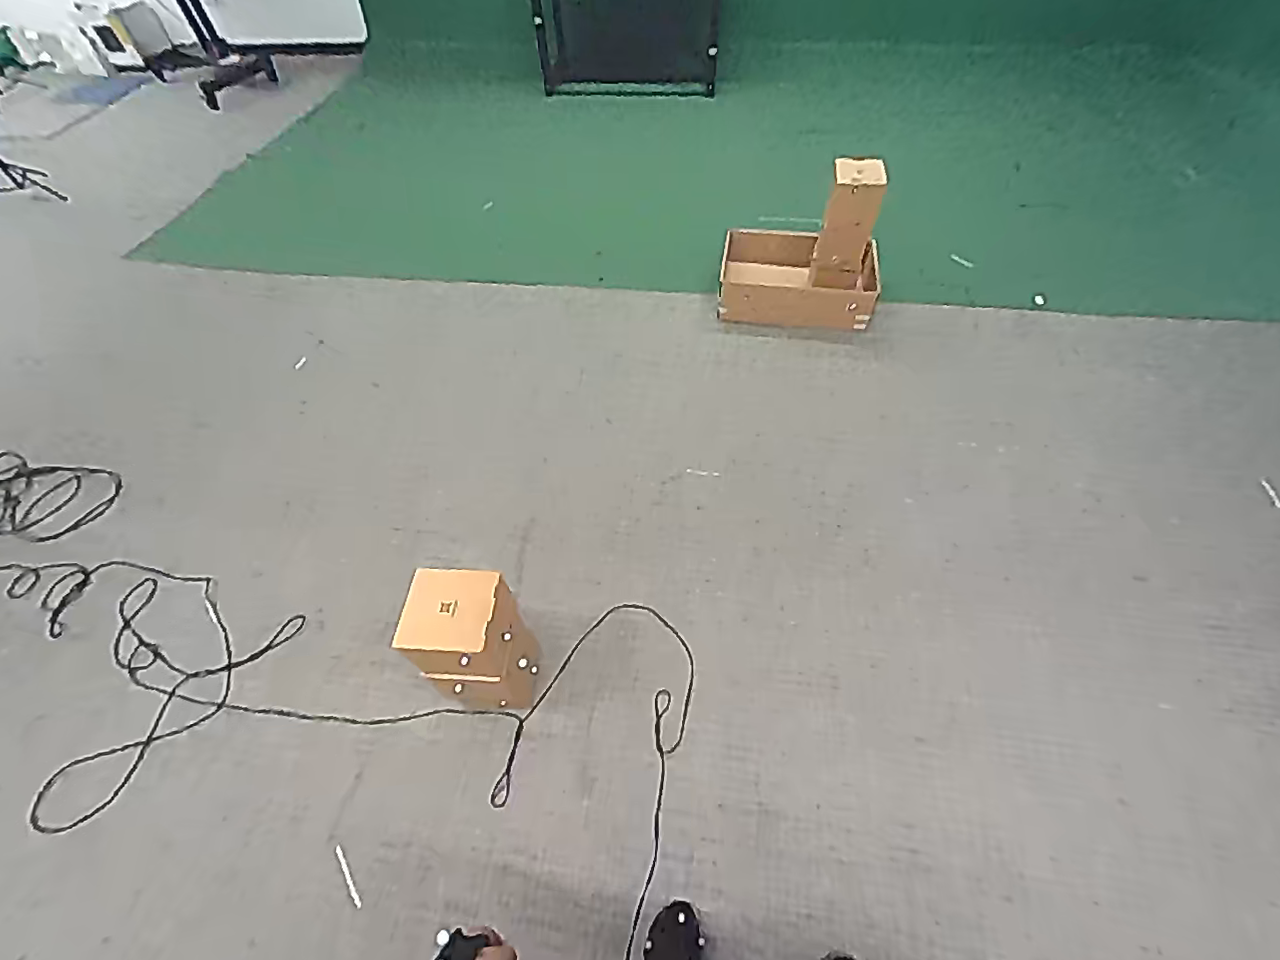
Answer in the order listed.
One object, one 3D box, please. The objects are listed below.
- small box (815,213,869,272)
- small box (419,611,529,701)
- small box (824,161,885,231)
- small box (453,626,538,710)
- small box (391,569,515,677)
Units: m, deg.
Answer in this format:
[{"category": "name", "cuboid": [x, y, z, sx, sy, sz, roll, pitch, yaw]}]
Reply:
[{"category": "small box", "cuboid": [0.779, -0.935, 2.097, 0.168, 0.176, 0.179, 8, 56, 10]}, {"category": "small box", "cuboid": [-0.370, 0.399, 1.238, 0.179, 0.176, 0.168, 2, 54, 4]}, {"category": "small box", "cuboid": [0.771, -1.030, 1.963, 0.168, 0.176, 0.179, 5, 54, 8]}, {"category": "small box", "cuboid": [-0.365, 0.481, 1.380, 0.179, 0.176, 0.168, -2, 53, 3]}, {"category": "small box", "cuboid": [-0.372, 0.298, 1.110, 0.179, 0.176, 0.168, 2, 54, 3]}]
